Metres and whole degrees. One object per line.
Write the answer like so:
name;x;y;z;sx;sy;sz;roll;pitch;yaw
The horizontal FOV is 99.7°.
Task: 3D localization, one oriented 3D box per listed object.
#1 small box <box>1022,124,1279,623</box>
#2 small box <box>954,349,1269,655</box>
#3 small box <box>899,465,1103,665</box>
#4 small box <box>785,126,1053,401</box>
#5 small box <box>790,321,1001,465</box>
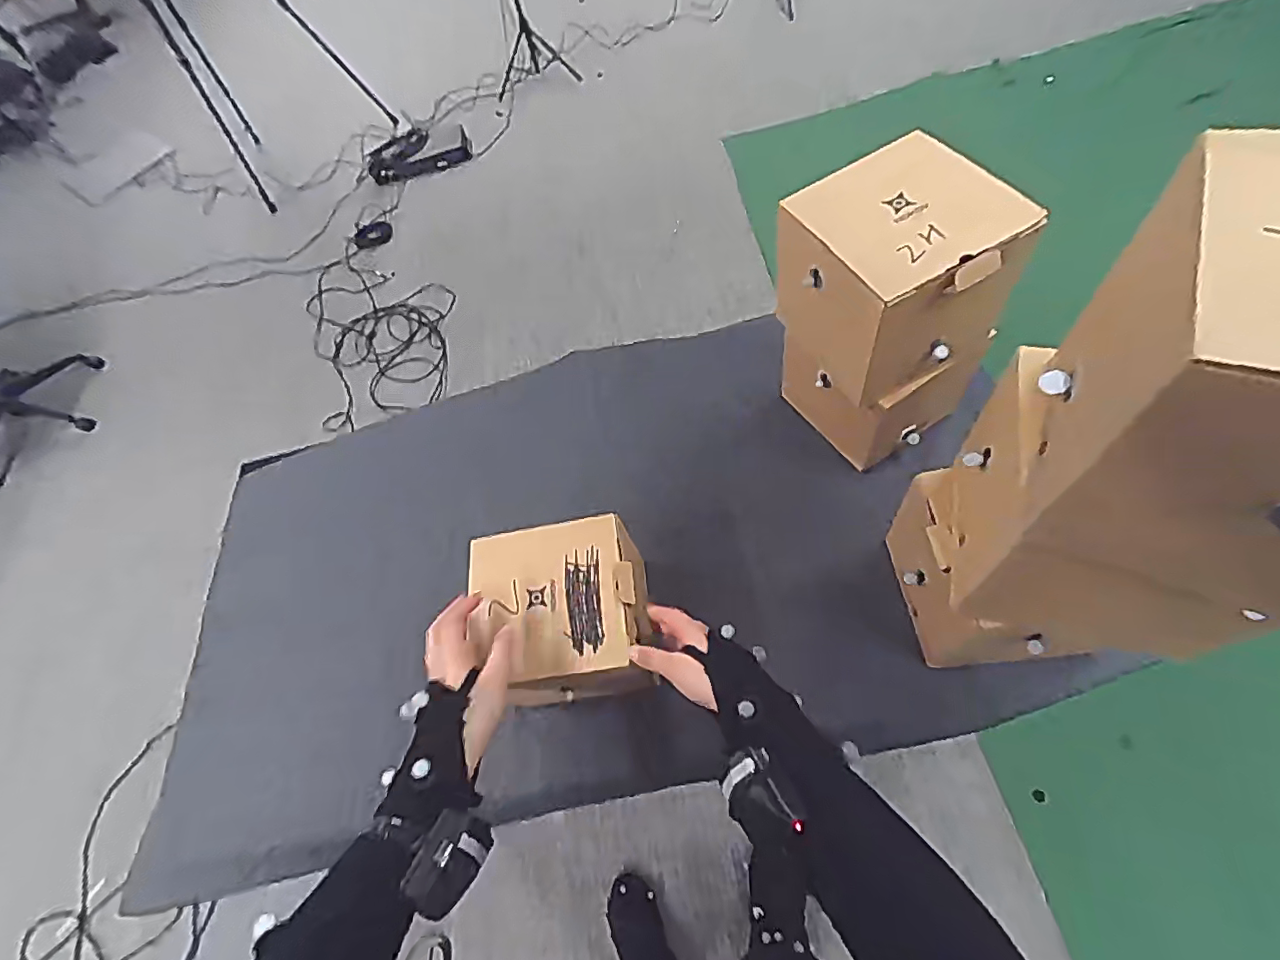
small box;0.335;-0.039;0.270;0.179;0.176;0.168;20;66;22
small box;0.365;0.022;0.422;0.179;0.176;0.168;10;63;17
small box;0.391;0.089;0.569;0.179;0.176;0.168;-9;59;8
small box;0.265;-0.218;0.571;0.168;0.176;0.179;-28;62;0
small box;0.315;-0.151;0.715;0.168;0.176;0.179;-34;63;-4
